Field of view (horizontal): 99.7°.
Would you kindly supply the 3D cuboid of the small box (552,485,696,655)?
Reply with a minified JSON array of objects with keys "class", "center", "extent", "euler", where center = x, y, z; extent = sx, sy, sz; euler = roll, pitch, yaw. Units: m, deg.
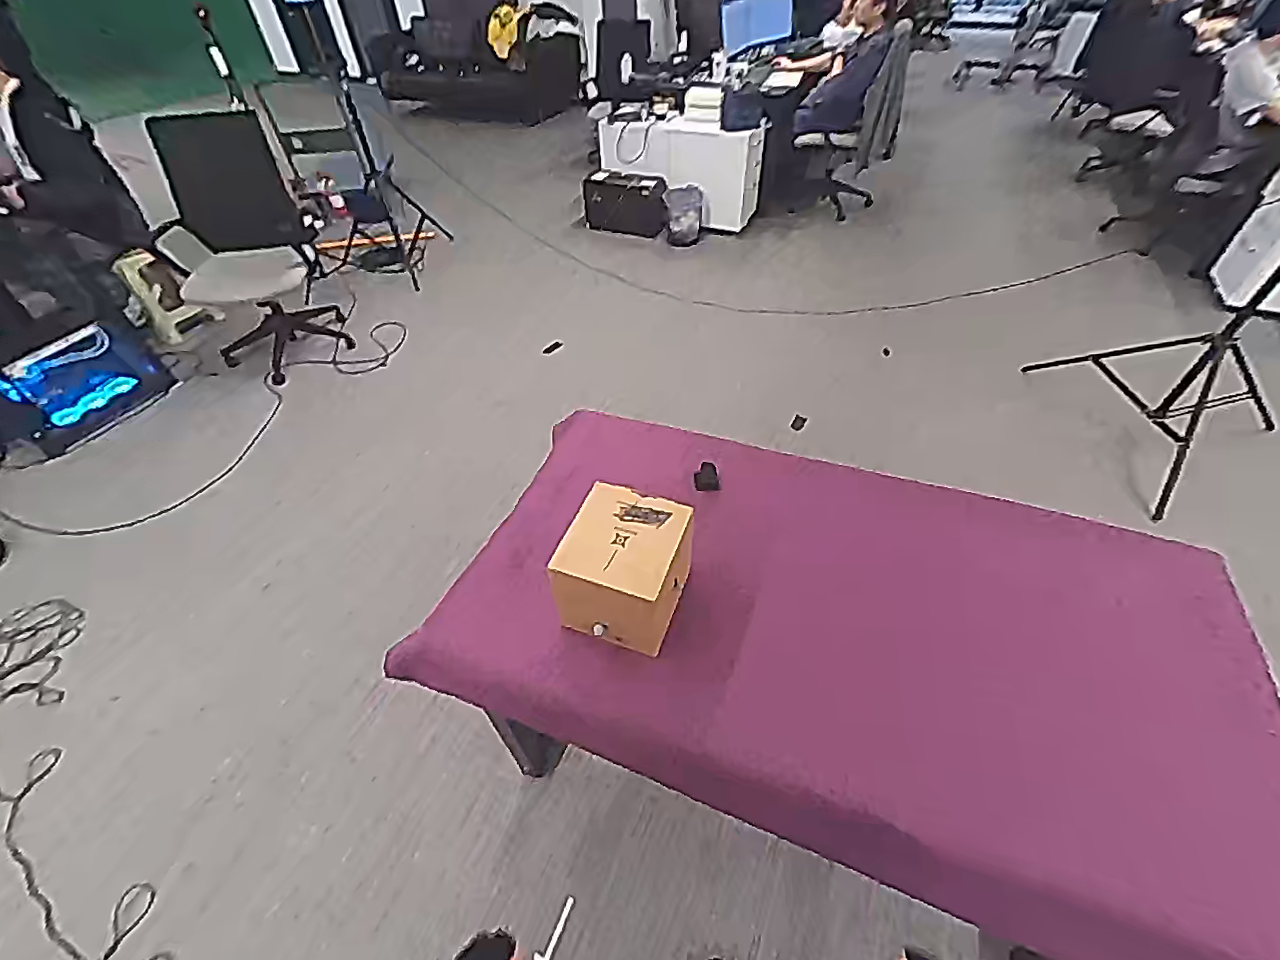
[{"class":"small box","center":[-0.018,0.141,0.850],"extent":[0.168,0.176,0.179],"euler":[14,49,16]}]
